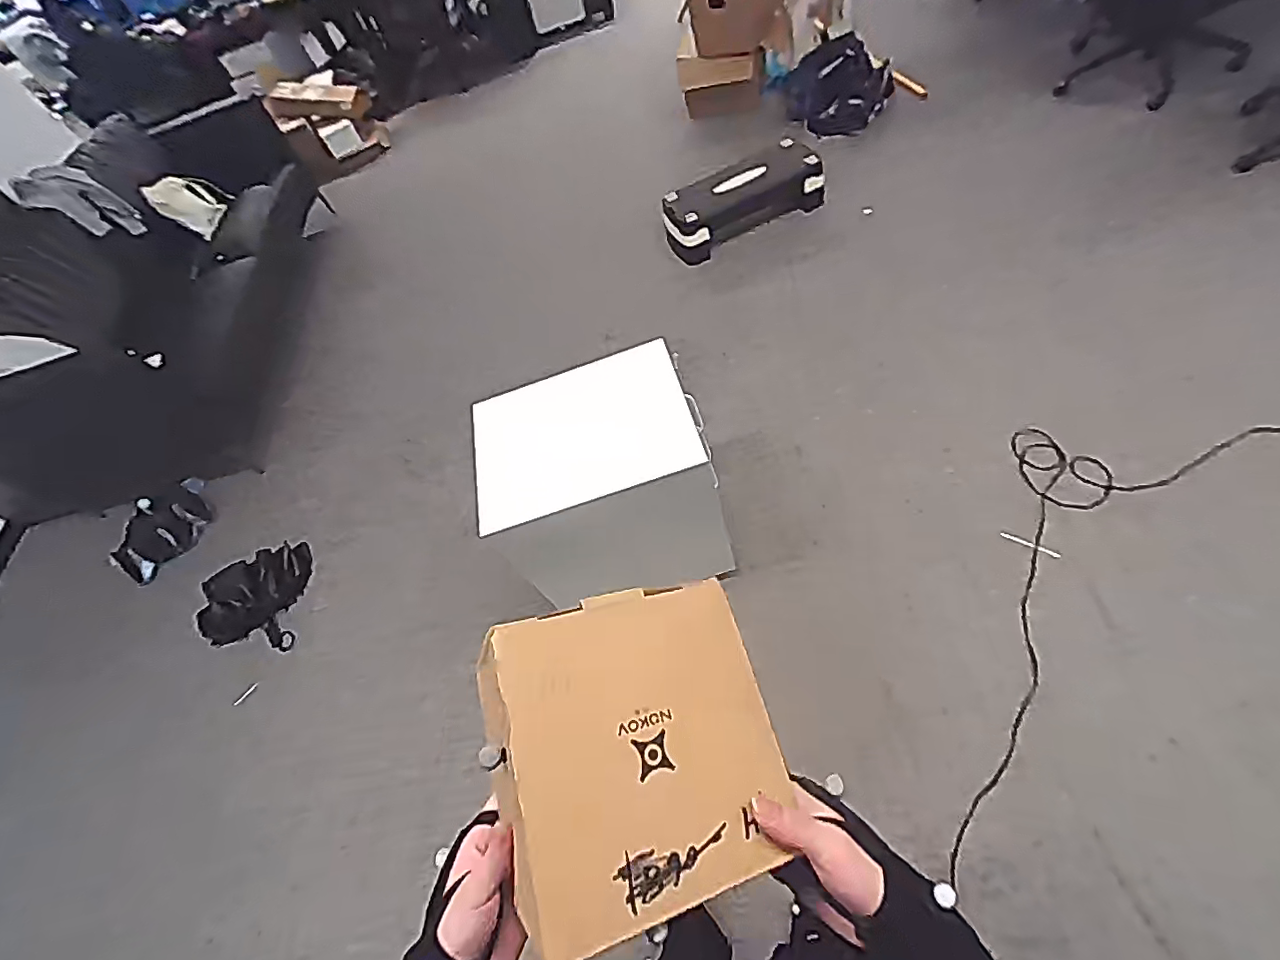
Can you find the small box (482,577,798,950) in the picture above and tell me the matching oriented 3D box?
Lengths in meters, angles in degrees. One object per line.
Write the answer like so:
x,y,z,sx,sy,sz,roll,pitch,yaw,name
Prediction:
-0.021,0.191,0.404,0.168,0.176,0.179,-7,67,-21,small box
